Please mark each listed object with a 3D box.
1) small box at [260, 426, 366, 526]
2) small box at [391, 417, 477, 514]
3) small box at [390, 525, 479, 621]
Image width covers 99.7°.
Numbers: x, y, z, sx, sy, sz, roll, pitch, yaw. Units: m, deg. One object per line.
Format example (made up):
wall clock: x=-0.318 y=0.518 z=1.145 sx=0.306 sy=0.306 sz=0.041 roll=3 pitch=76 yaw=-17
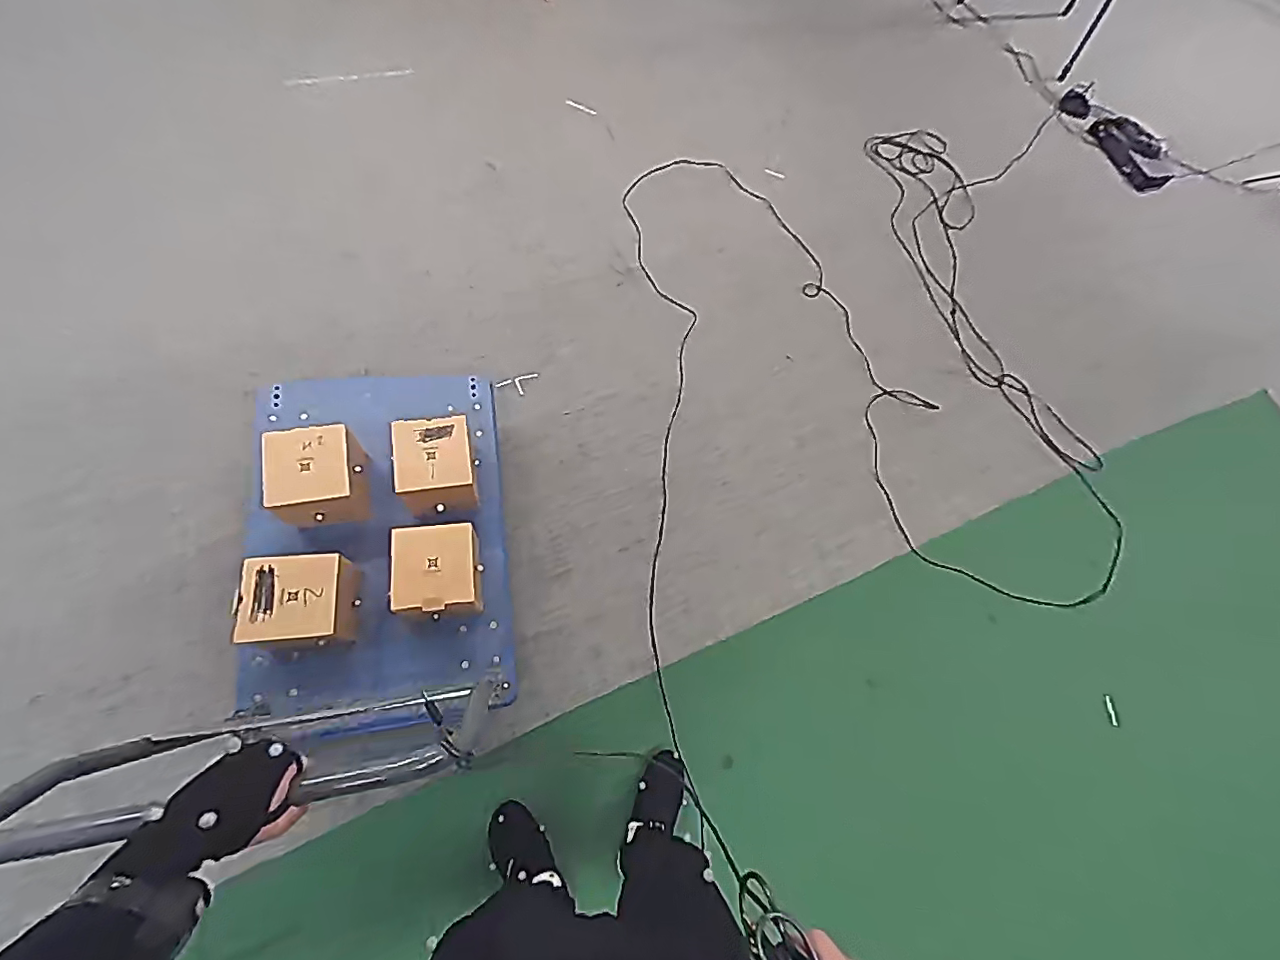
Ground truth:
small box: x=-0.733 y=-0.002 z=1.226 sx=0.168 sy=0.176 sz=0.179 roll=-9 pitch=72 yaw=-15
small box: x=-0.486 y=-0.032 z=1.288 sx=0.168 sy=0.176 sz=0.179 roll=-7 pitch=73 yaw=-13
small box: x=-0.453 y=0.210 z=1.208 sx=0.168 sy=0.176 sz=0.179 roll=-4 pitch=72 yaw=-13
